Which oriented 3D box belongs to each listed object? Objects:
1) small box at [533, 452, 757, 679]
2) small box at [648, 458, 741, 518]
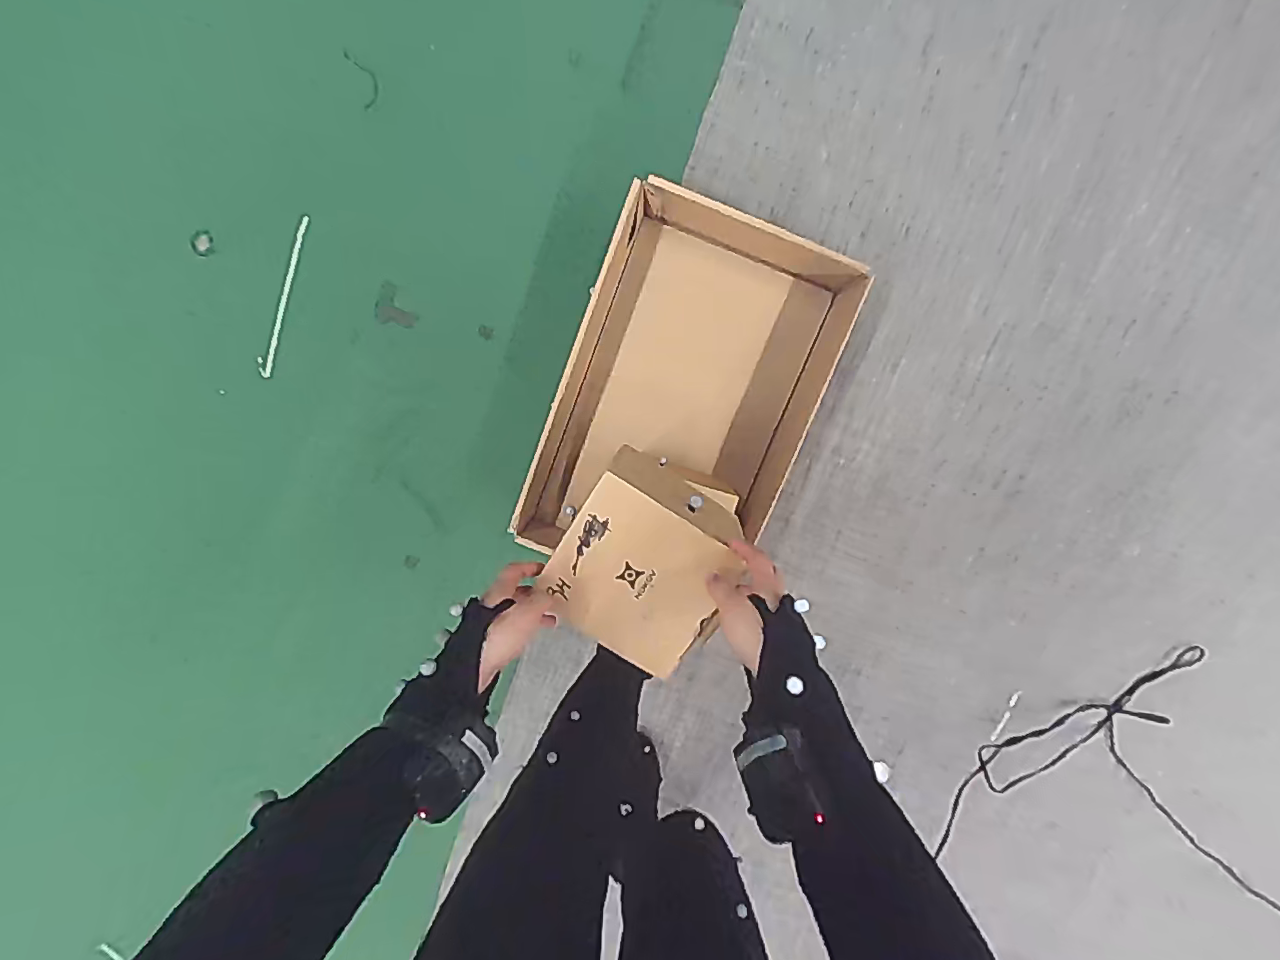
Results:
[{"bbox_3d":[0.008,0.084,0.627,0.179,0.176,0.168,32,102,-4],"label":"small box"},{"bbox_3d":[0.055,0.065,0.942,0.179,0.176,0.168,18,99,-3],"label":"small box"}]
